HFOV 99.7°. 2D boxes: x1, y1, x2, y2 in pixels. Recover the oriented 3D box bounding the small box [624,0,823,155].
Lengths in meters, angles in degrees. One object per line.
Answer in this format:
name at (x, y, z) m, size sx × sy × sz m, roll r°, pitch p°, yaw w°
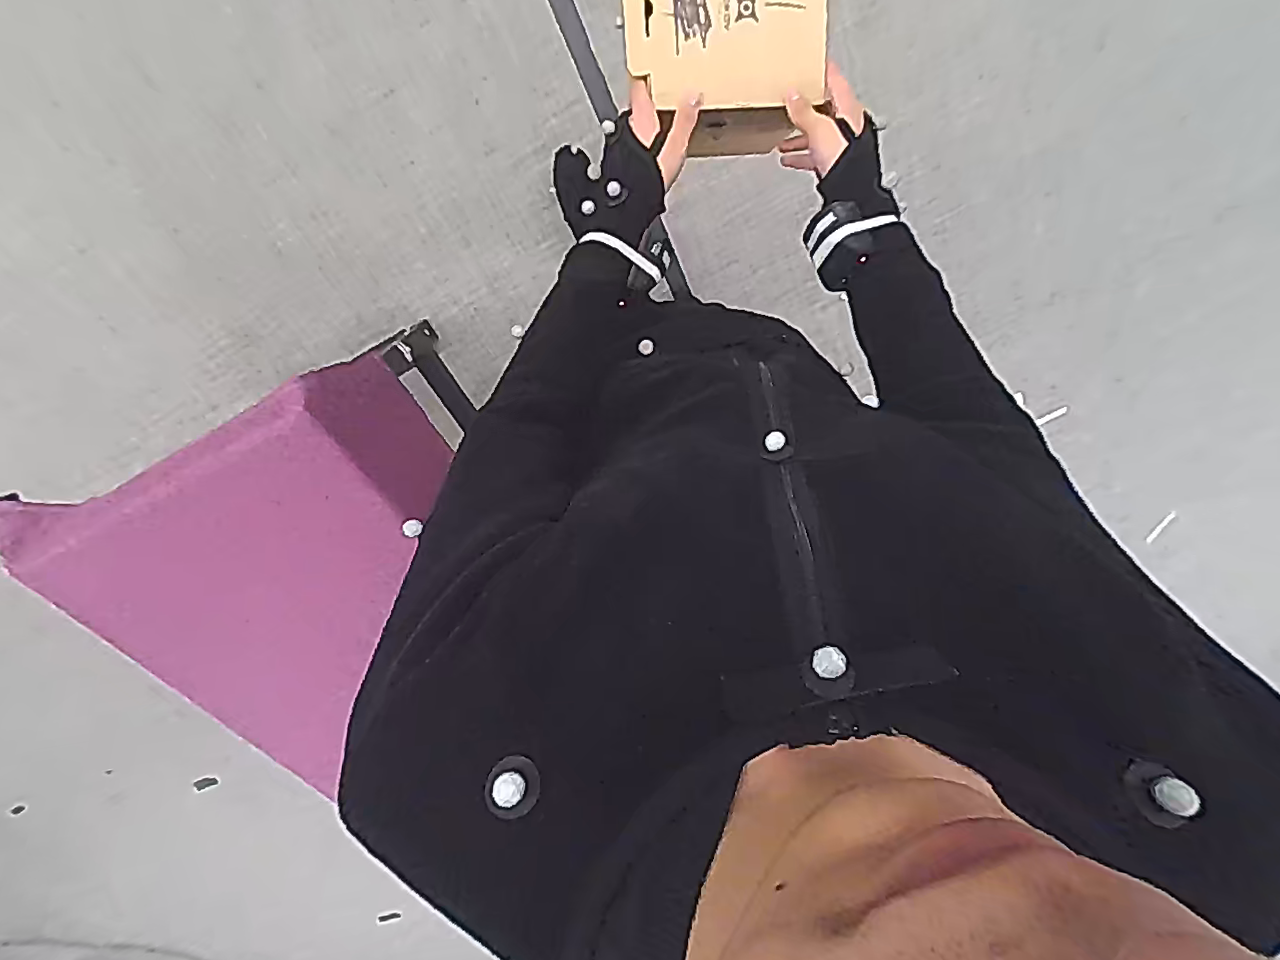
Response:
small box at (0.076, -0.461, 0.573) m, size 0.179 × 0.176 × 0.168 m, roll -6°, pitch 107°, yaw -6°
